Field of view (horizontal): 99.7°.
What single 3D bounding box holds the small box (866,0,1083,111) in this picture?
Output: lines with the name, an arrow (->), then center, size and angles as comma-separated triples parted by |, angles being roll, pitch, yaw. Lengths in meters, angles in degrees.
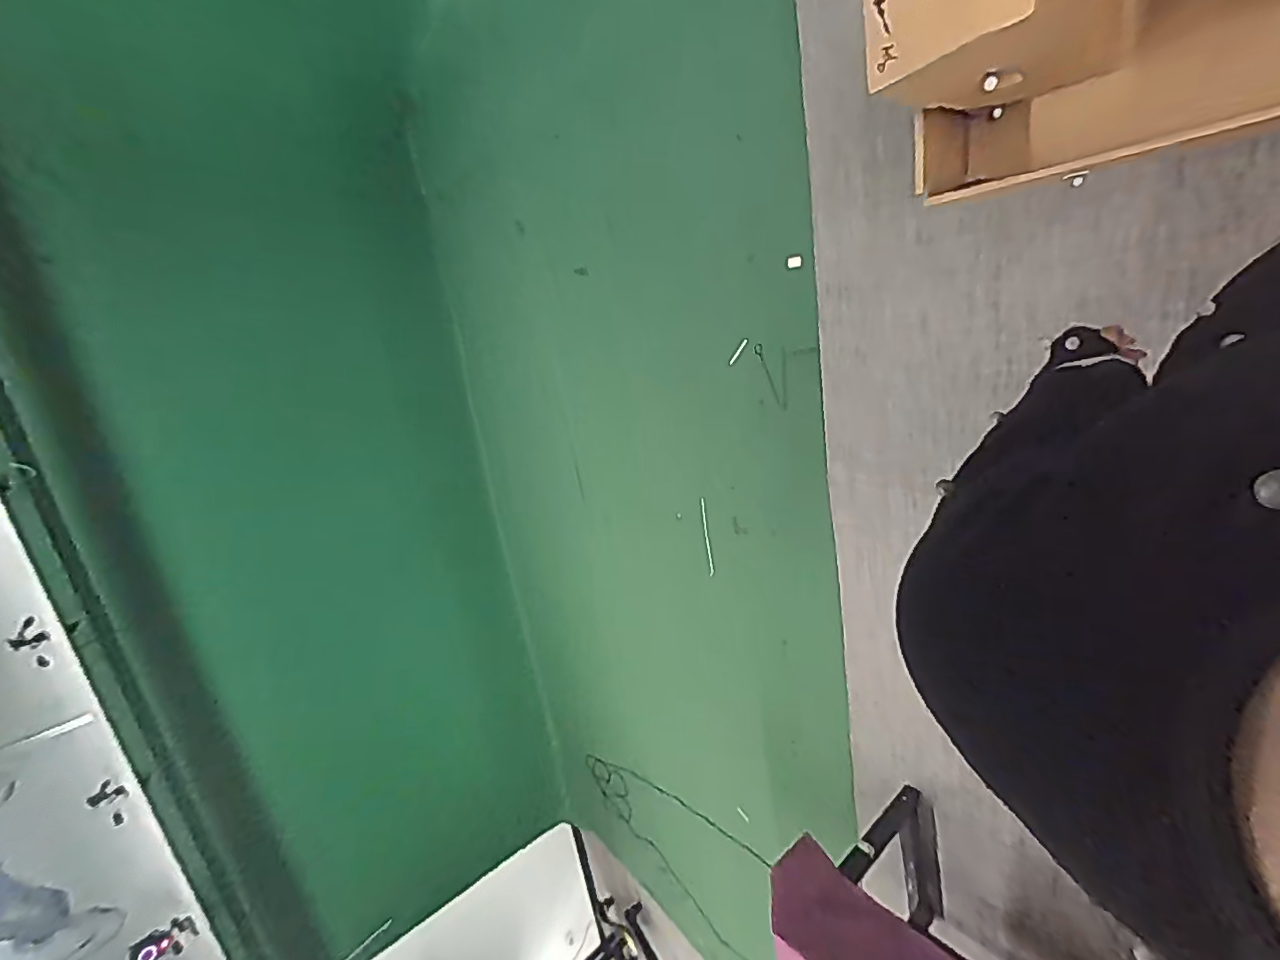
small box -> 0.384, -0.555, 0.620 | 0.179, 0.176, 0.168 | 10, 113, 52
